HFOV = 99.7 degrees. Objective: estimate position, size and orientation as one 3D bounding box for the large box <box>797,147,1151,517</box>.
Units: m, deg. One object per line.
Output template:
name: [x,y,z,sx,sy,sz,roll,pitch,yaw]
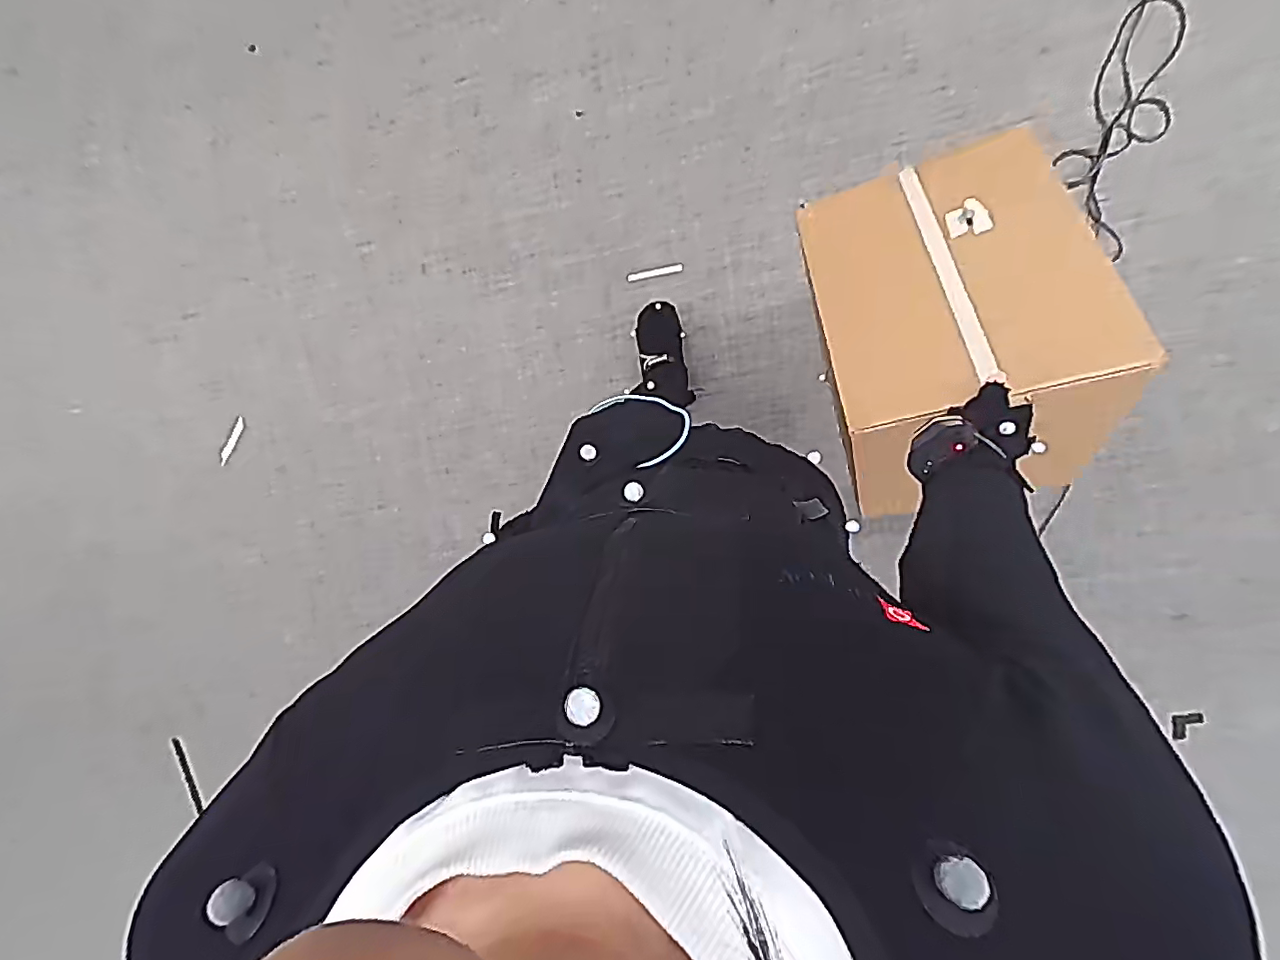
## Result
large box: [0.455,-0.203,0.838,0.320,0.320,0.408,-12,60,18]
